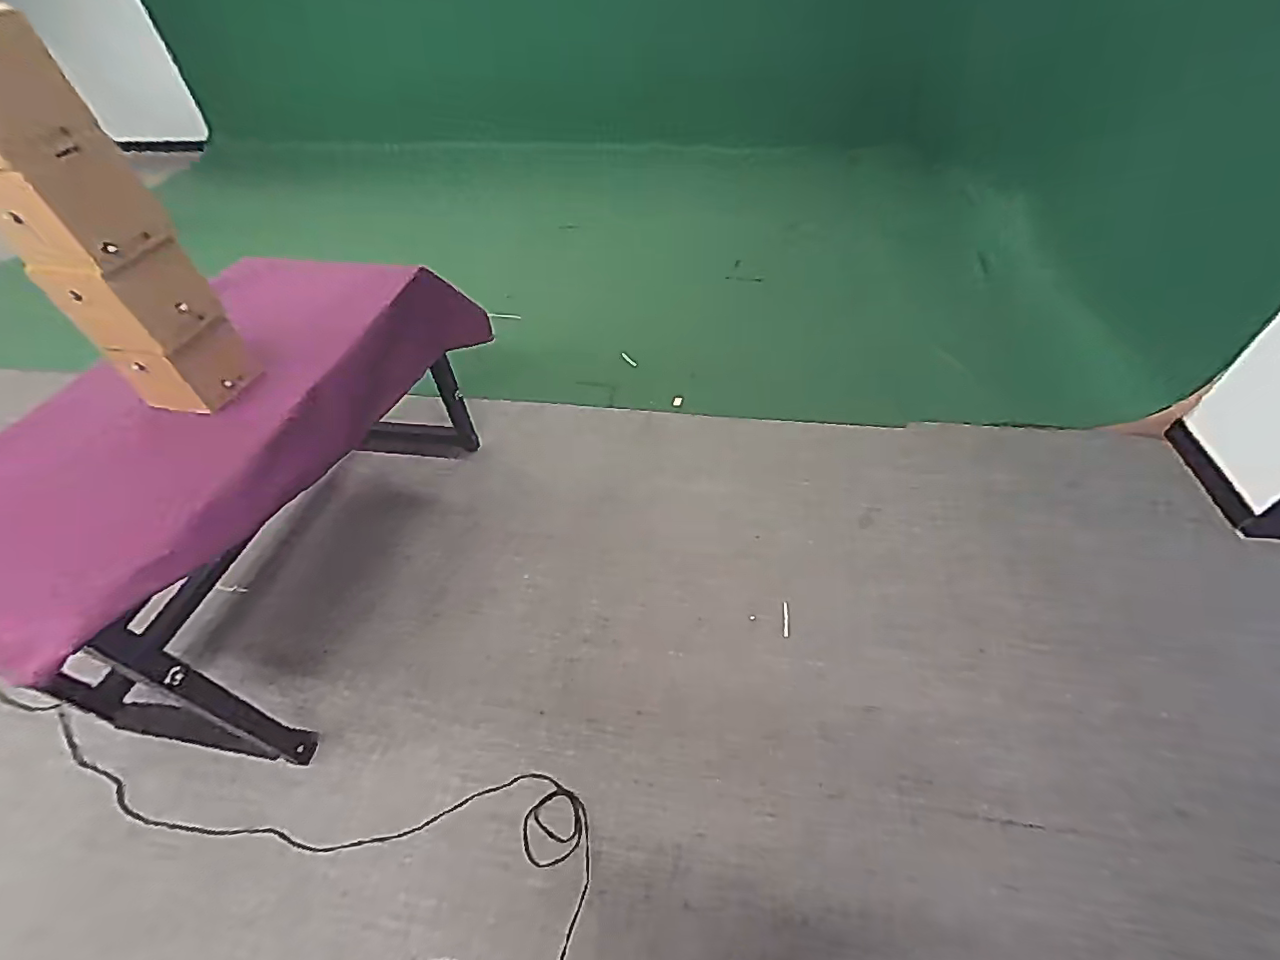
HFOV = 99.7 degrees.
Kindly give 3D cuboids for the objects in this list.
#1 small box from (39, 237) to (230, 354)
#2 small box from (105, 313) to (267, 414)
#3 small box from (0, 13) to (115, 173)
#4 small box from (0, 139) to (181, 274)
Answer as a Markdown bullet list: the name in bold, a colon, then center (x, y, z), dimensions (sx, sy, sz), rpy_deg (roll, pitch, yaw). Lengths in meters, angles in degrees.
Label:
- **small box**: center (-0.983, -0.368, 1.070), dimensions (0.179, 0.176, 0.168), rpy_deg (8, 50, 10)
- **small box**: center (-0.990, -0.265, 1.198), dimensions (0.179, 0.176, 0.168), rpy_deg (9, 50, 11)
- **small box**: center (-0.994, -0.588, 0.827), dimensions (0.179, 0.176, 0.168), rpy_deg (9, 50, 12)
- **small box**: center (-0.981, -0.479, 0.949), dimensions (0.179, 0.176, 0.168), rpy_deg (8, 49, 11)
